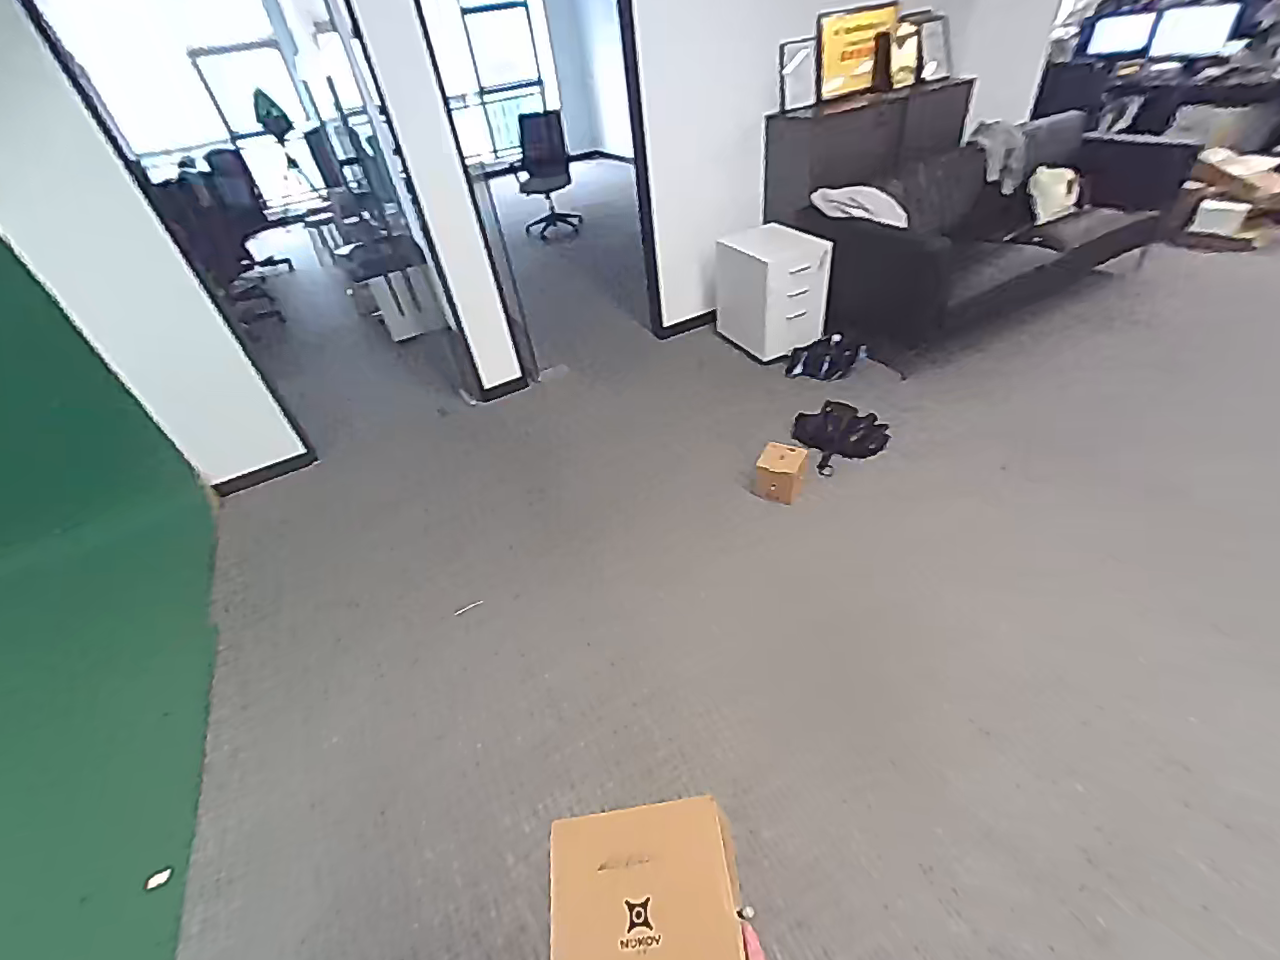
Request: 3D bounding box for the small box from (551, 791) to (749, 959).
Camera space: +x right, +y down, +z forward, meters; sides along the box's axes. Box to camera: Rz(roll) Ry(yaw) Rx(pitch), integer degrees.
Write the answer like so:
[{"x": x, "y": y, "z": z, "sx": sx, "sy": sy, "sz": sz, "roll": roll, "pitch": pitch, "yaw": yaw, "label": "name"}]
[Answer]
[{"x": 0.015, "y": 0.436, "z": 0.543, "sx": 0.168, "sy": 0.176, "sz": 0.179, "roll": -11, "pitch": 49, "yaw": 4, "label": "small box"}]
